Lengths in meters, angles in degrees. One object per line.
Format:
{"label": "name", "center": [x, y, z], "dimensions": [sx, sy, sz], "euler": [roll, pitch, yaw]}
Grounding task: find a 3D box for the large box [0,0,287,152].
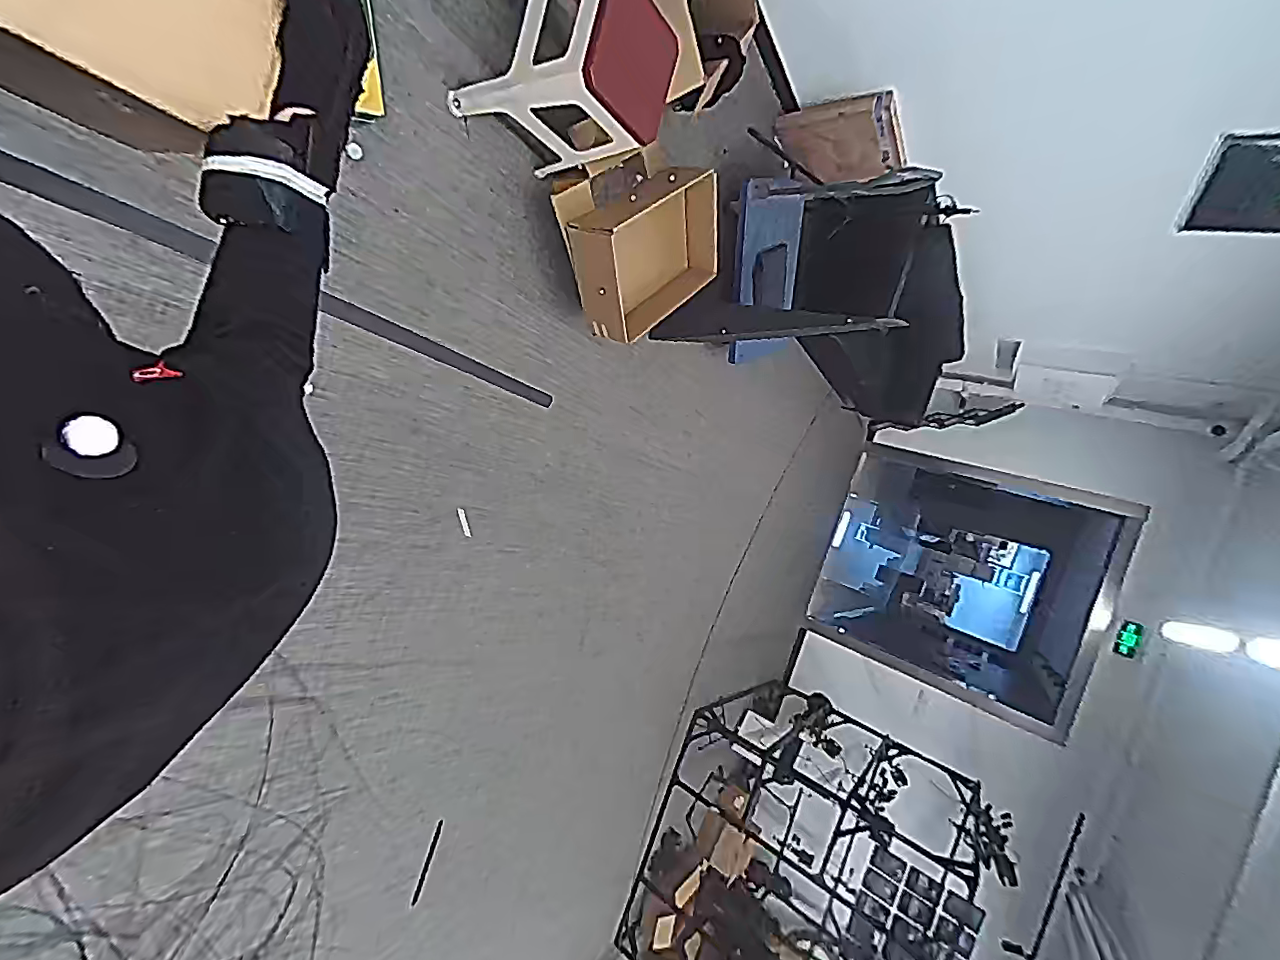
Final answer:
{"label": "large box", "center": [-0.481, -0.462, 0.319], "dimensions": [0.408, 0.320, 0.320], "euler": [10, 103, -58]}
